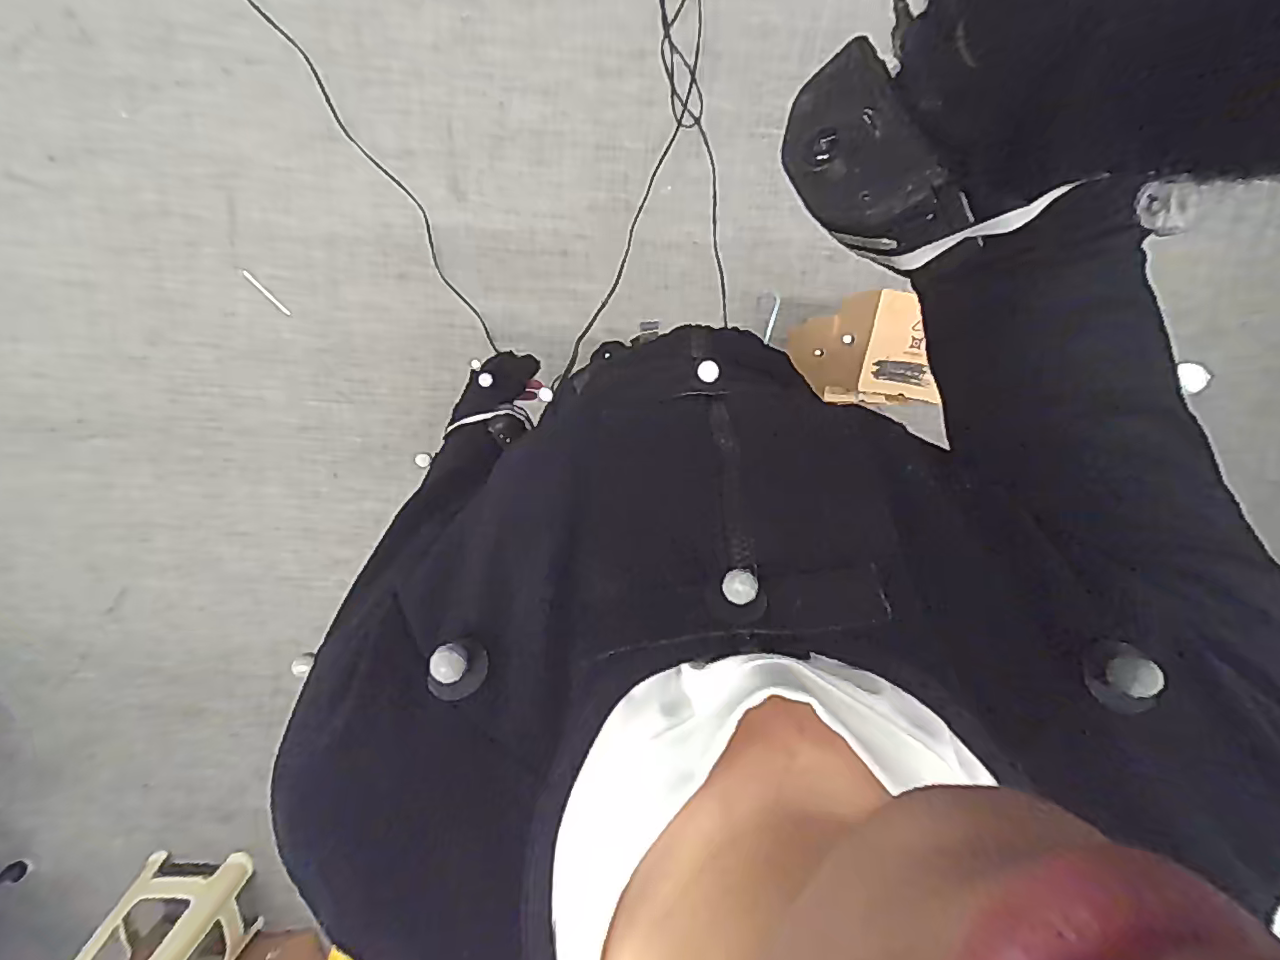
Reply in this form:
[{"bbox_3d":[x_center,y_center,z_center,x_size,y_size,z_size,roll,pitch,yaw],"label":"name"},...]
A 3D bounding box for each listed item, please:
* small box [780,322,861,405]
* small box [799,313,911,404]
[{"bbox_3d":[0.458,-0.293,1.344,0.168,0.176,0.179,6,106,-3],"label":"small box"},{"bbox_3d":[0.458,-0.267,1.180,0.168,0.176,0.179,3,106,-1],"label":"small box"}]
